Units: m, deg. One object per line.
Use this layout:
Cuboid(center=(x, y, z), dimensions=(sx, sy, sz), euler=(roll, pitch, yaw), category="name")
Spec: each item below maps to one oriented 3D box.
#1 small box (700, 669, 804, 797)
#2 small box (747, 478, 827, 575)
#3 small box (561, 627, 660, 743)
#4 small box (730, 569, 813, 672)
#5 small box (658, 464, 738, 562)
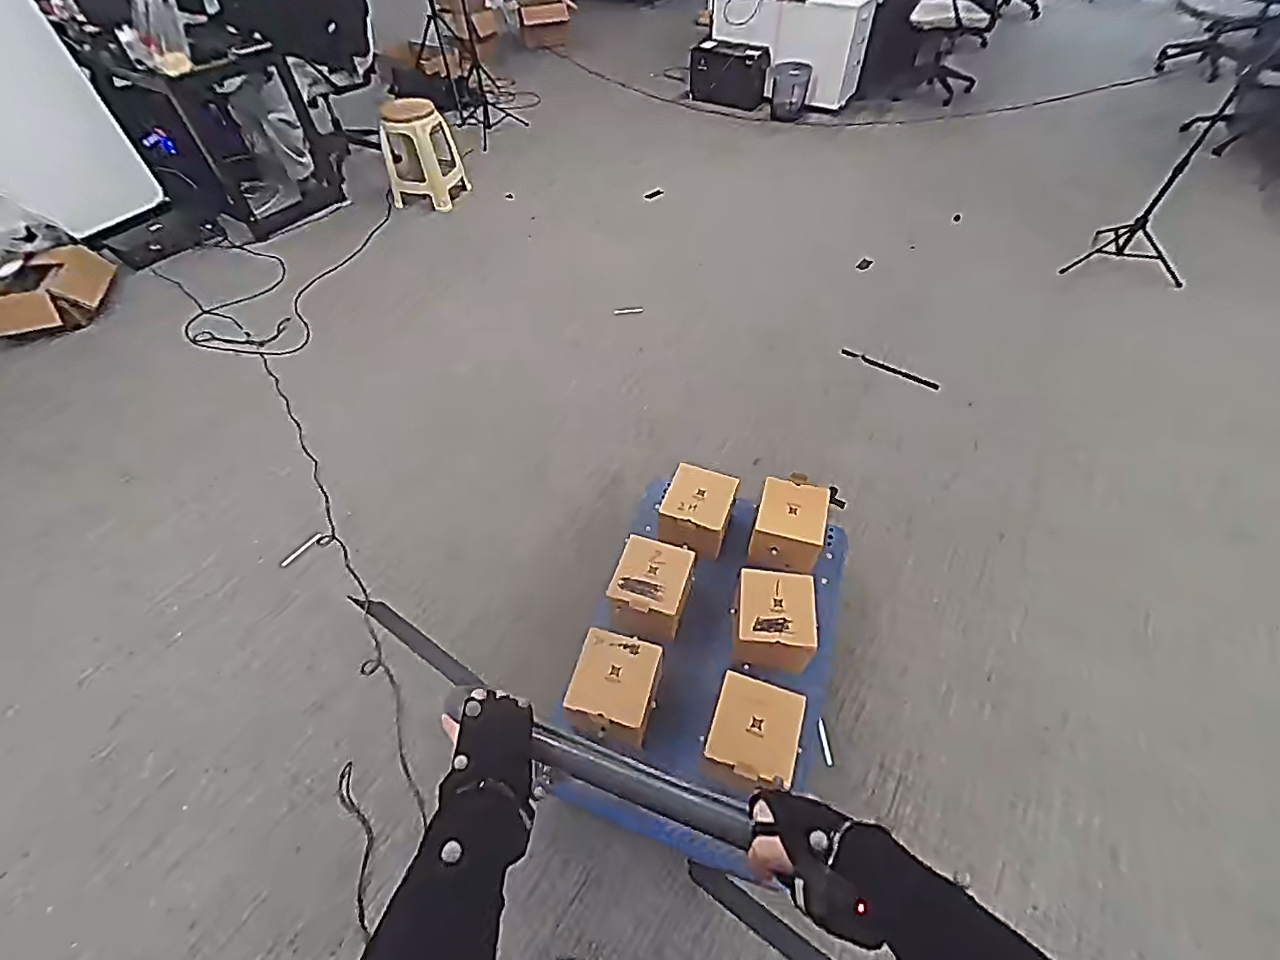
Cuboid(center=(0.226, 0.529, 1.120), dimensions=(0.168, 0.176, 0.179), euler=(16, 54, 14), category="small box")
Cuboid(center=(0.383, 0.126, 1.427), dimensions=(0.168, 0.176, 0.179), euler=(13, 53, 12), category="small box")
Cuboid(center=(-0.055, 0.454, 1.185), dimensions=(0.168, 0.176, 0.179), euler=(13, 54, 11), category="small box")
Cuboid(center=(0.304, 0.333, 1.268), dimensions=(0.168, 0.176, 0.179), euler=(6, 52, 7), category="small box")
Cuboid(center=(0.152, 0.091, 1.459), dimensions=(0.168, 0.176, 0.179), euler=(17, 56, 15), category="small box")
